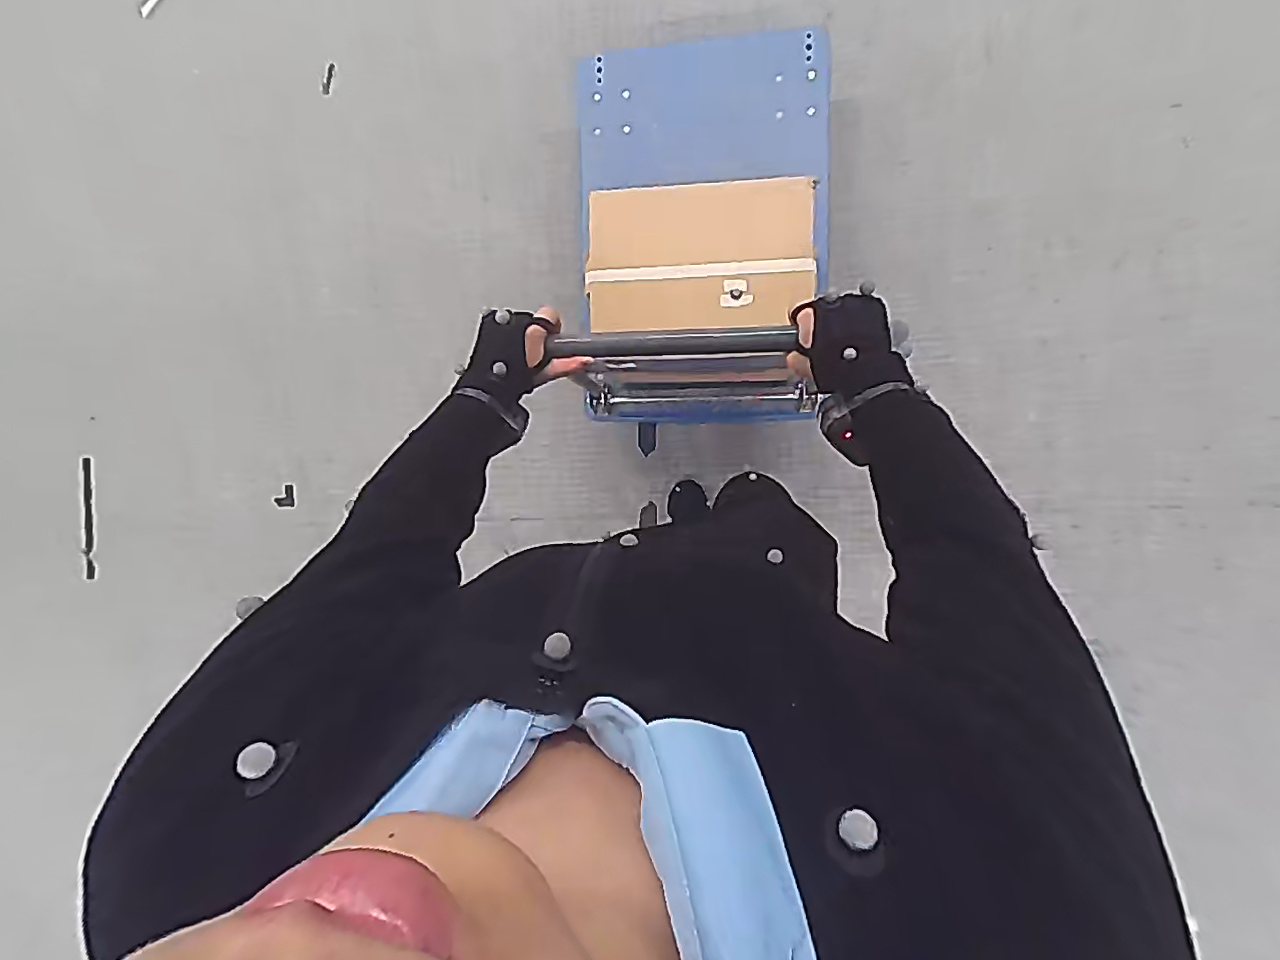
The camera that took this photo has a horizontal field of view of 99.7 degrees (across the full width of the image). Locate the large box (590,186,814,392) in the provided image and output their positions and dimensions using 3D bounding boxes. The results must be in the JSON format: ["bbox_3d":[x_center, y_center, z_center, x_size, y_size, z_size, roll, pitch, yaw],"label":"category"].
[{"bbox_3d":[0.123,-0.361,1.116,0.408,0.320,0.320,0,92,7],"label":"large box"}]
